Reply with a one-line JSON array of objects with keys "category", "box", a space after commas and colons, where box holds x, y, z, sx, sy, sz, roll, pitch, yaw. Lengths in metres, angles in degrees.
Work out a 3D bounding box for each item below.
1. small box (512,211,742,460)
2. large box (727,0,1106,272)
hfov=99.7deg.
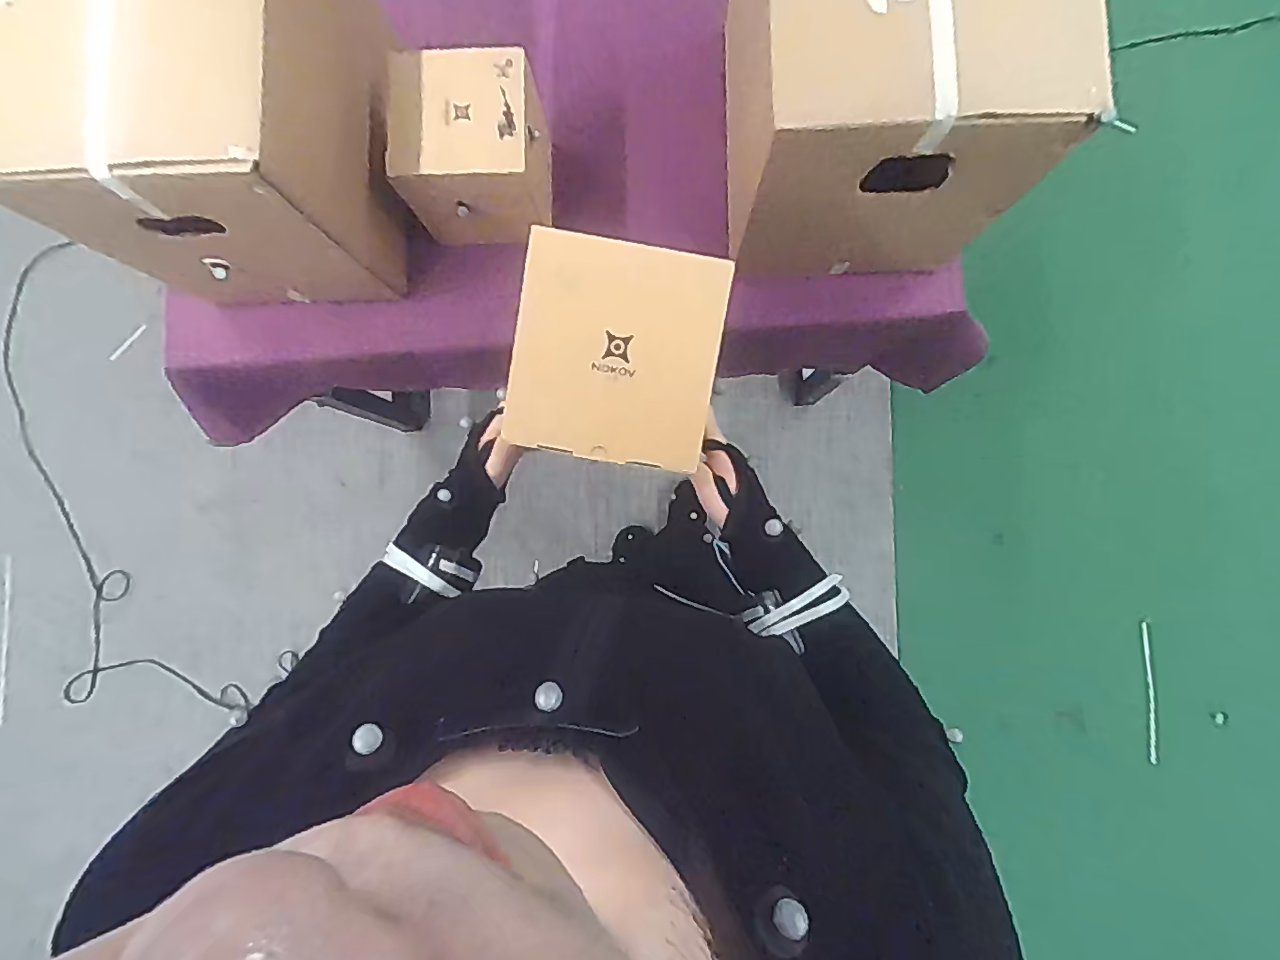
[{"category": "small box", "box": [-0.014, -0.124, 0.522, 0.168, 0.176, 0.179, 10, 96, -3]}, {"category": "large box", "box": [0.290, -0.519, 0.676, 0.320, 0.320, 0.408, 0, 87, 1]}]
